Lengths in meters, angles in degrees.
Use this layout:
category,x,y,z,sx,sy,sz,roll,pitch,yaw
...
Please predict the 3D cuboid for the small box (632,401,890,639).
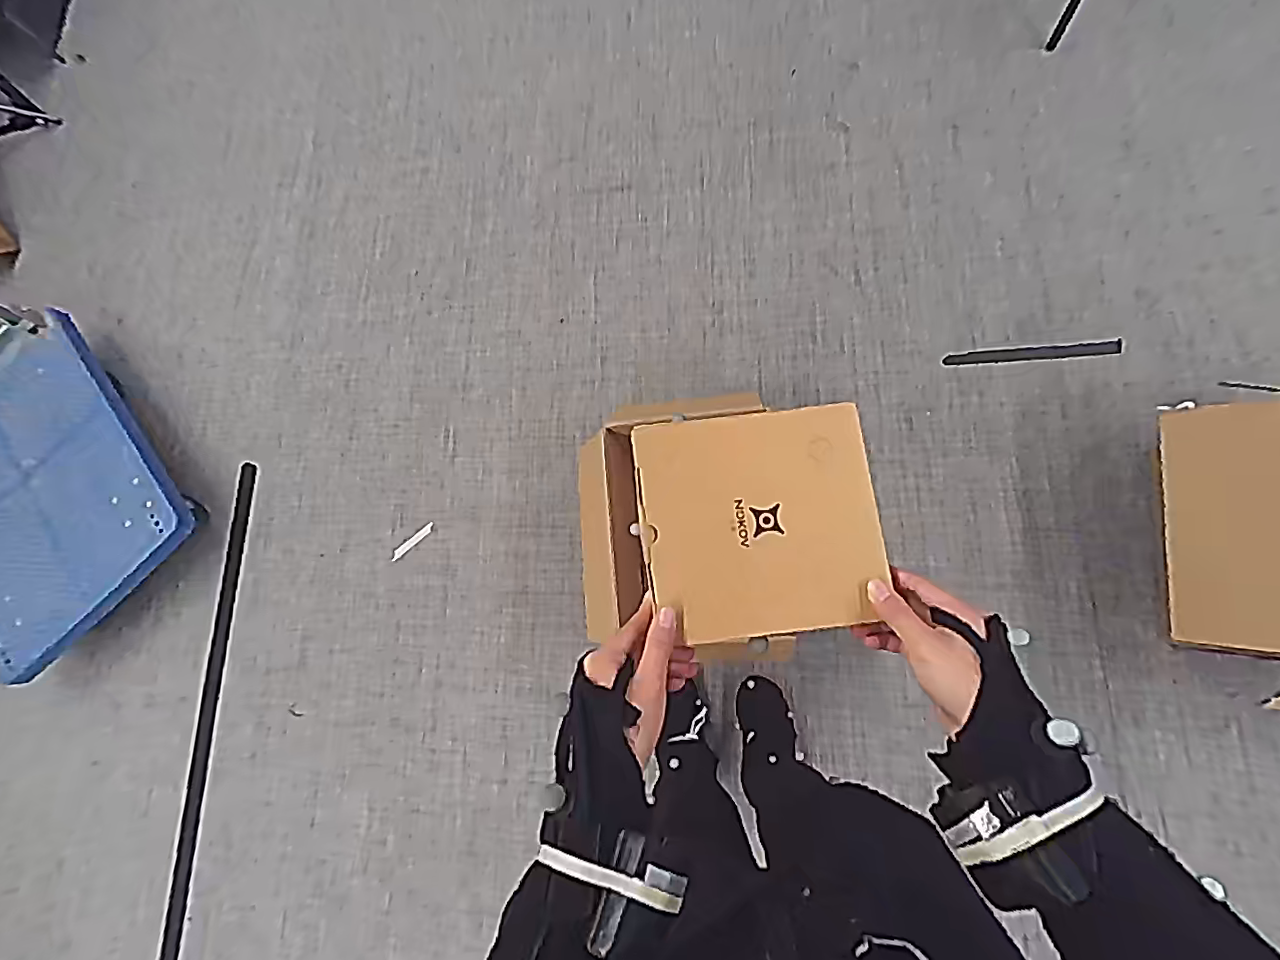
category,x,y,z,sx,sy,sz,roll,pitch,yaw
small box,0.090,0.039,0.483,0.179,0.176,0.168,-7,80,1
